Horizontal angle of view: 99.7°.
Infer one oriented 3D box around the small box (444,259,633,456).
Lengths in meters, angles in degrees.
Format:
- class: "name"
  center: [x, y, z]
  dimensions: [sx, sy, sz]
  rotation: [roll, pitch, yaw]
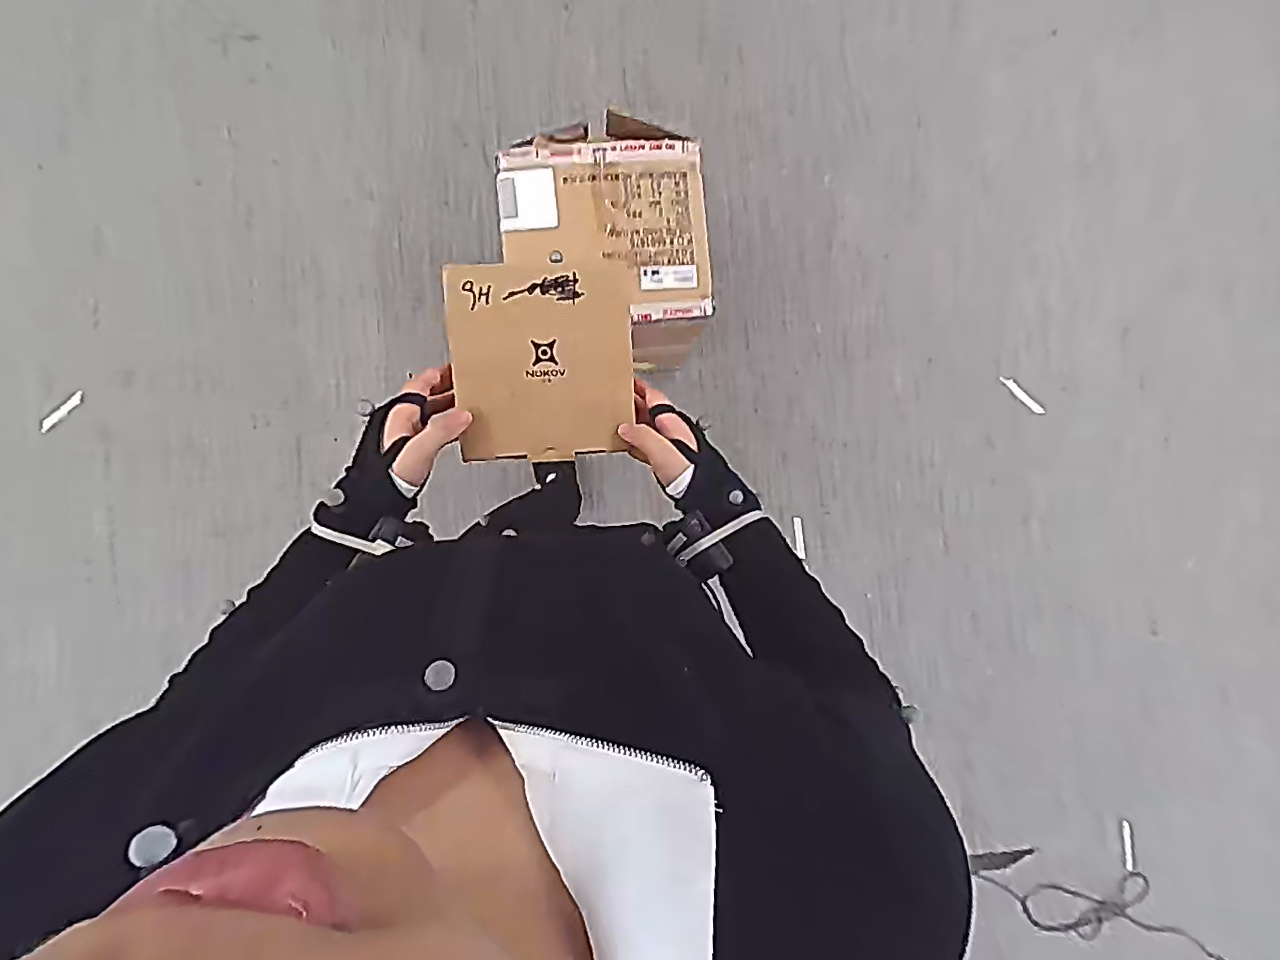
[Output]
- class: "small box"
  center: [-0.100, -0.128, 0.575]
  dimensions: [0.168, 0.176, 0.179]
  rotation: [-4, 101, -9]
